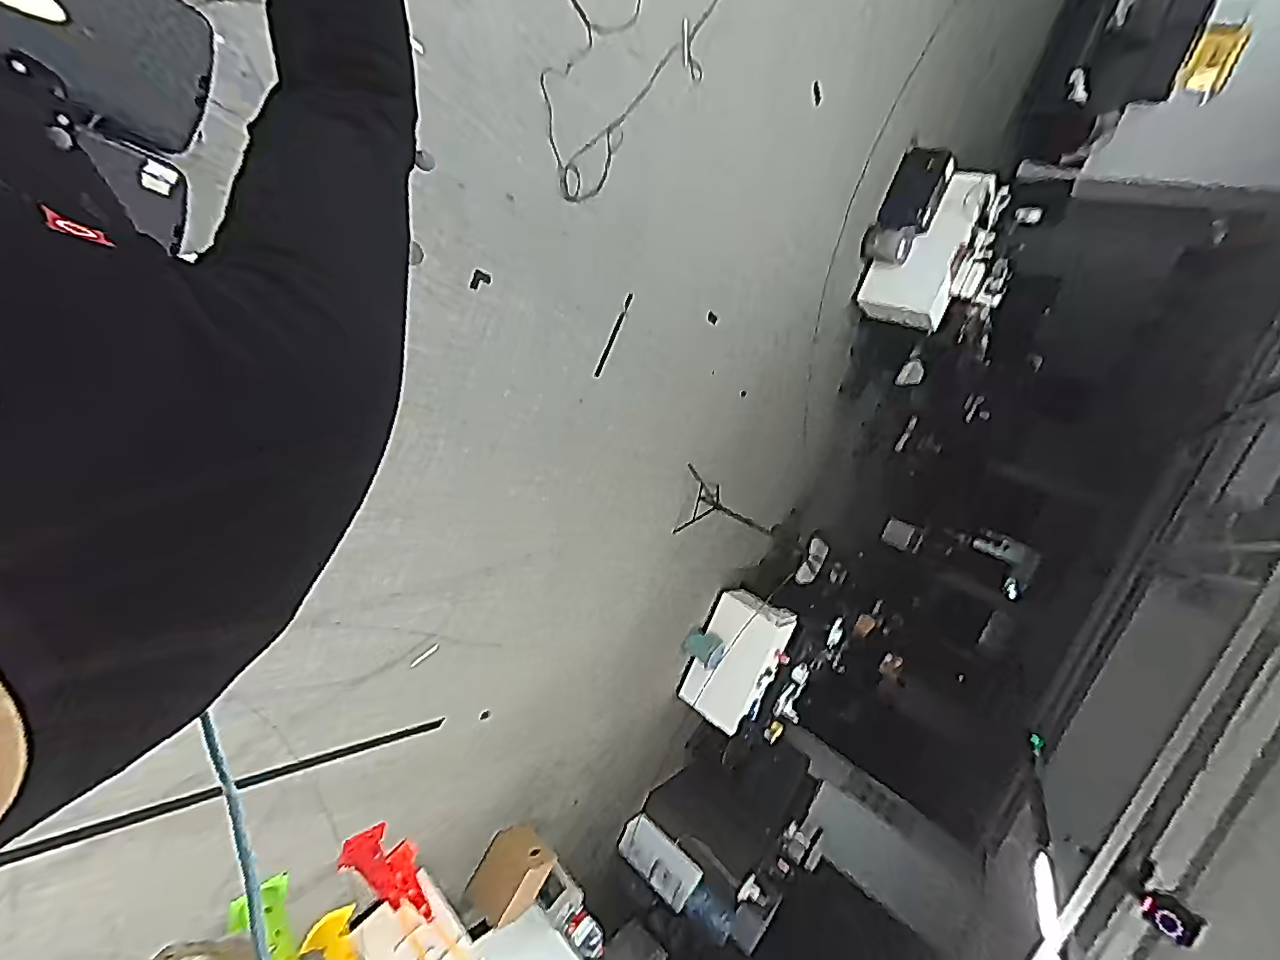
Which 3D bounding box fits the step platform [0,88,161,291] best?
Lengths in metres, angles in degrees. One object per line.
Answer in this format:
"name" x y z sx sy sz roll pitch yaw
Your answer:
"step platform" -1.222 -0.554 0.863 0.684 0.204 0.286 8 106 -54
